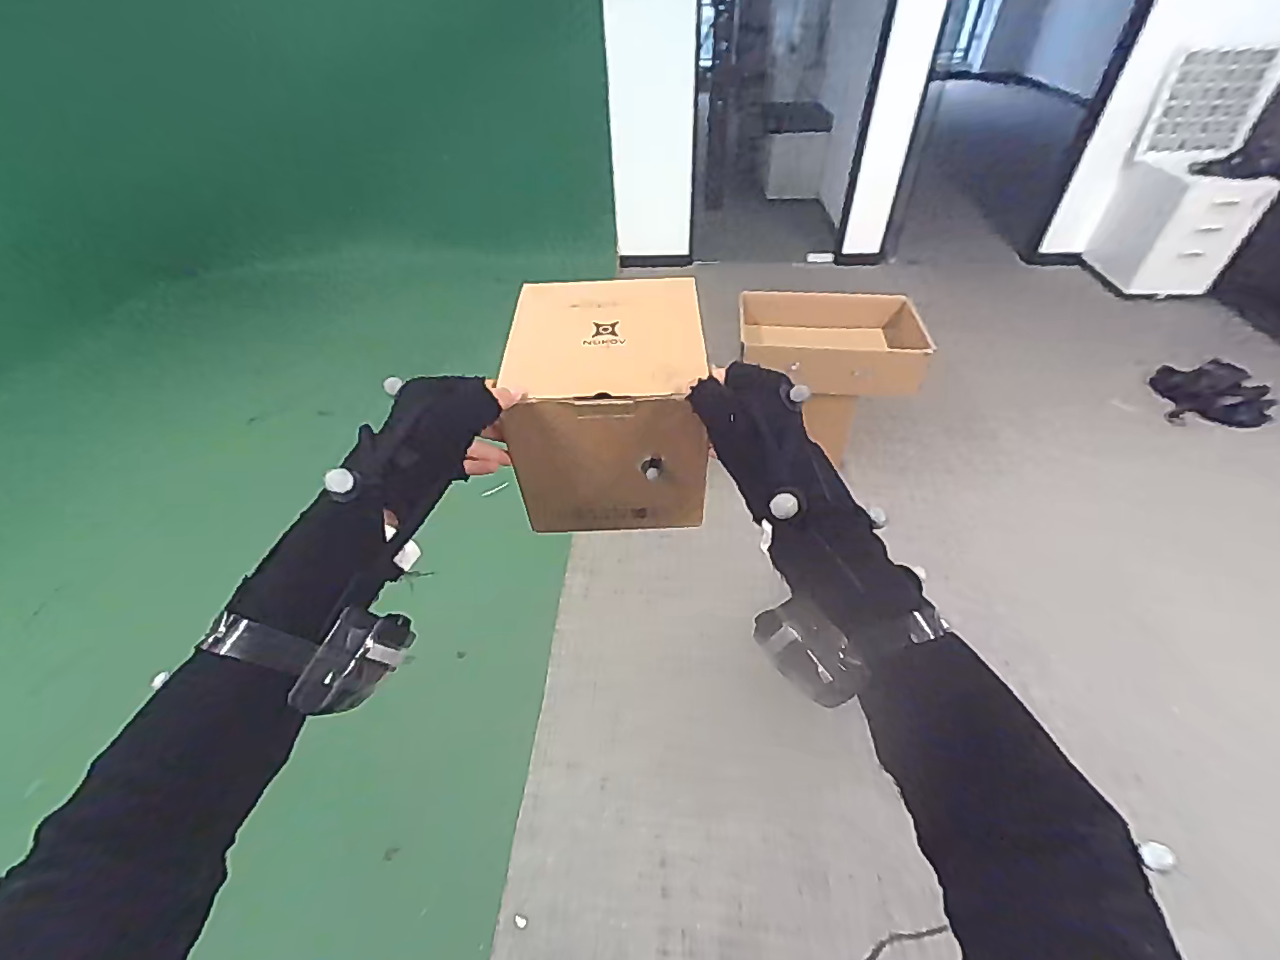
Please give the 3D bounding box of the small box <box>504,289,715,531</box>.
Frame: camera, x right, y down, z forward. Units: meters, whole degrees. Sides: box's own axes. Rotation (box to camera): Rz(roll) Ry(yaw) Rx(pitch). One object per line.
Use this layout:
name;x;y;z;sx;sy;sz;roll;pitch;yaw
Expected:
small box;-0.020;-0.063;0.523;0.168;0.176;0.179;-1;46;1
